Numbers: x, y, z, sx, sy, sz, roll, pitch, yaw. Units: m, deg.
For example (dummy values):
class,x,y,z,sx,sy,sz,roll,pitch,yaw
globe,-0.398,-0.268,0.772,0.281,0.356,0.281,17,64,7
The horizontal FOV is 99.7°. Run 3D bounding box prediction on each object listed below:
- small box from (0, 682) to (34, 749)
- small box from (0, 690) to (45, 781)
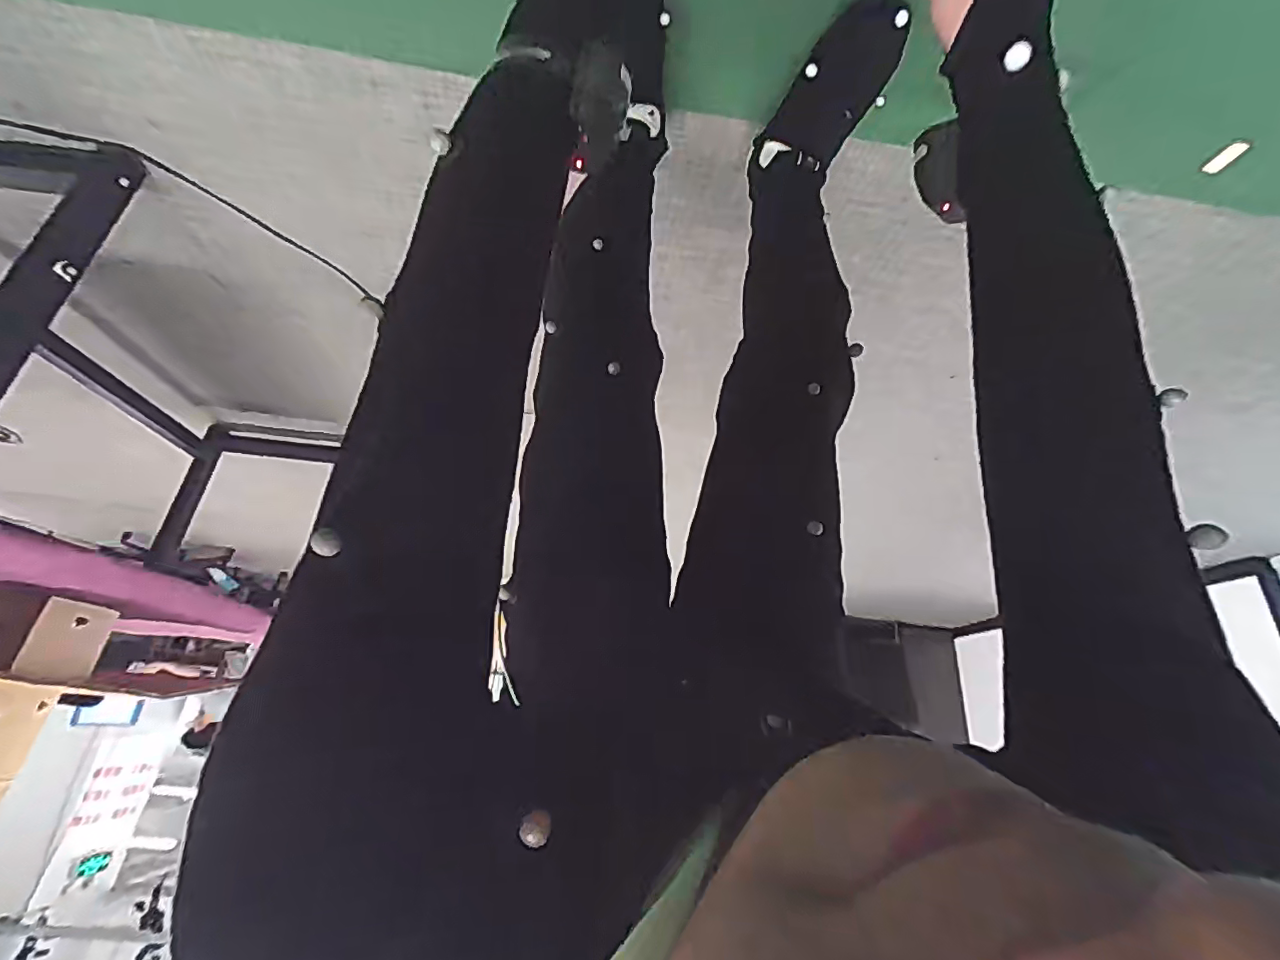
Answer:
class,x,y,z,sx,sy,sz,roll,pitch,yaw
small box,-1.153,0.399,0.854,0.179,0.176,0.168,5,154,-1
small box,-1.325,0.479,1.039,0.179,0.176,0.168,6,152,0
